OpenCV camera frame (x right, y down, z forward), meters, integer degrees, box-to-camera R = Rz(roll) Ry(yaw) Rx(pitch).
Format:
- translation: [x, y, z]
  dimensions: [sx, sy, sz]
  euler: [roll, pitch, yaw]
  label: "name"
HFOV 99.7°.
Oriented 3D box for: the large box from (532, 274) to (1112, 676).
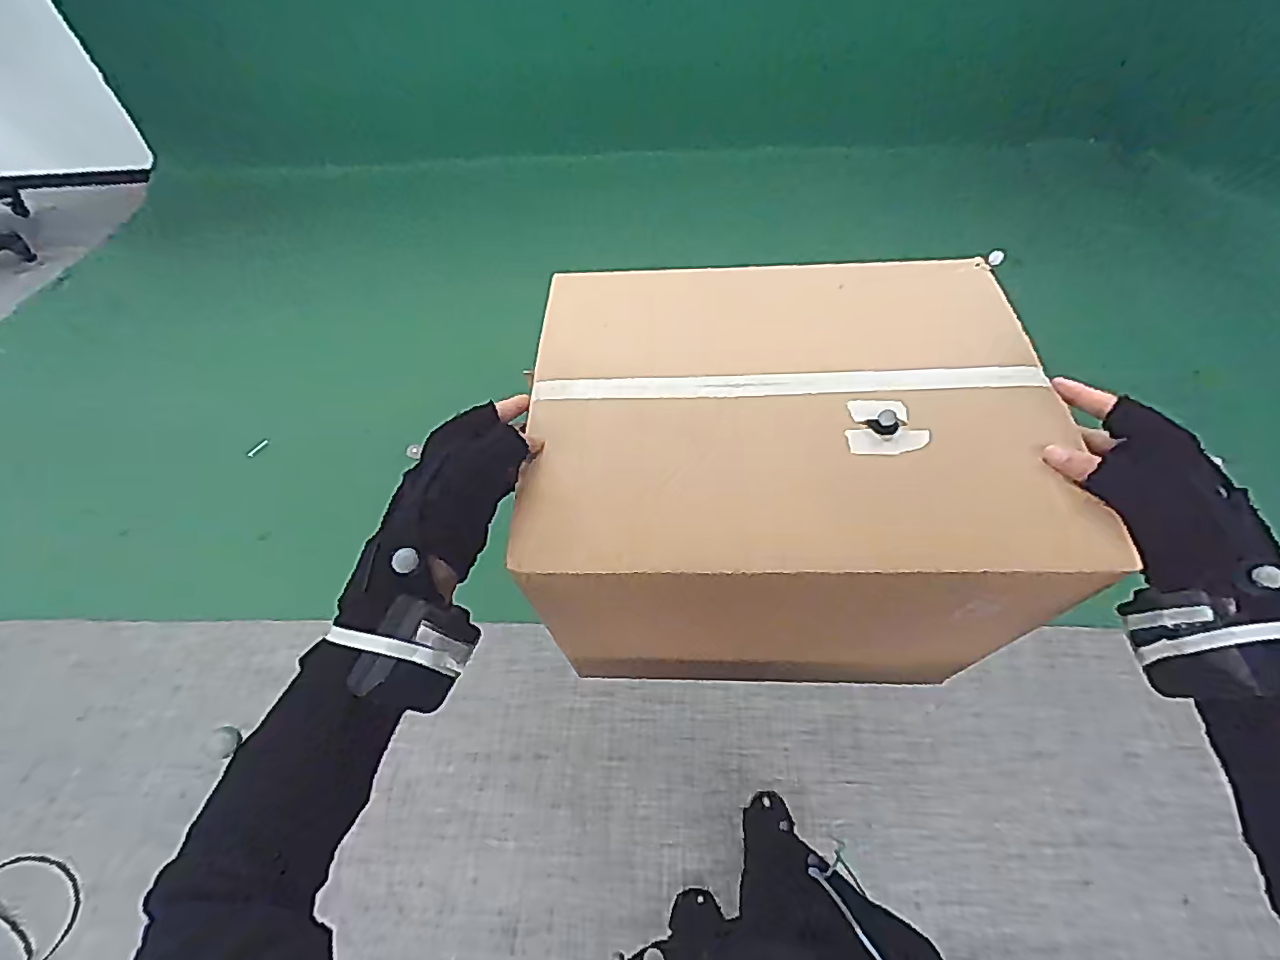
- translation: [0.127, 0.012, 0.573]
  dimensions: [0.408, 0.320, 0.320]
  euler: [0, 58, 3]
  label: "large box"
